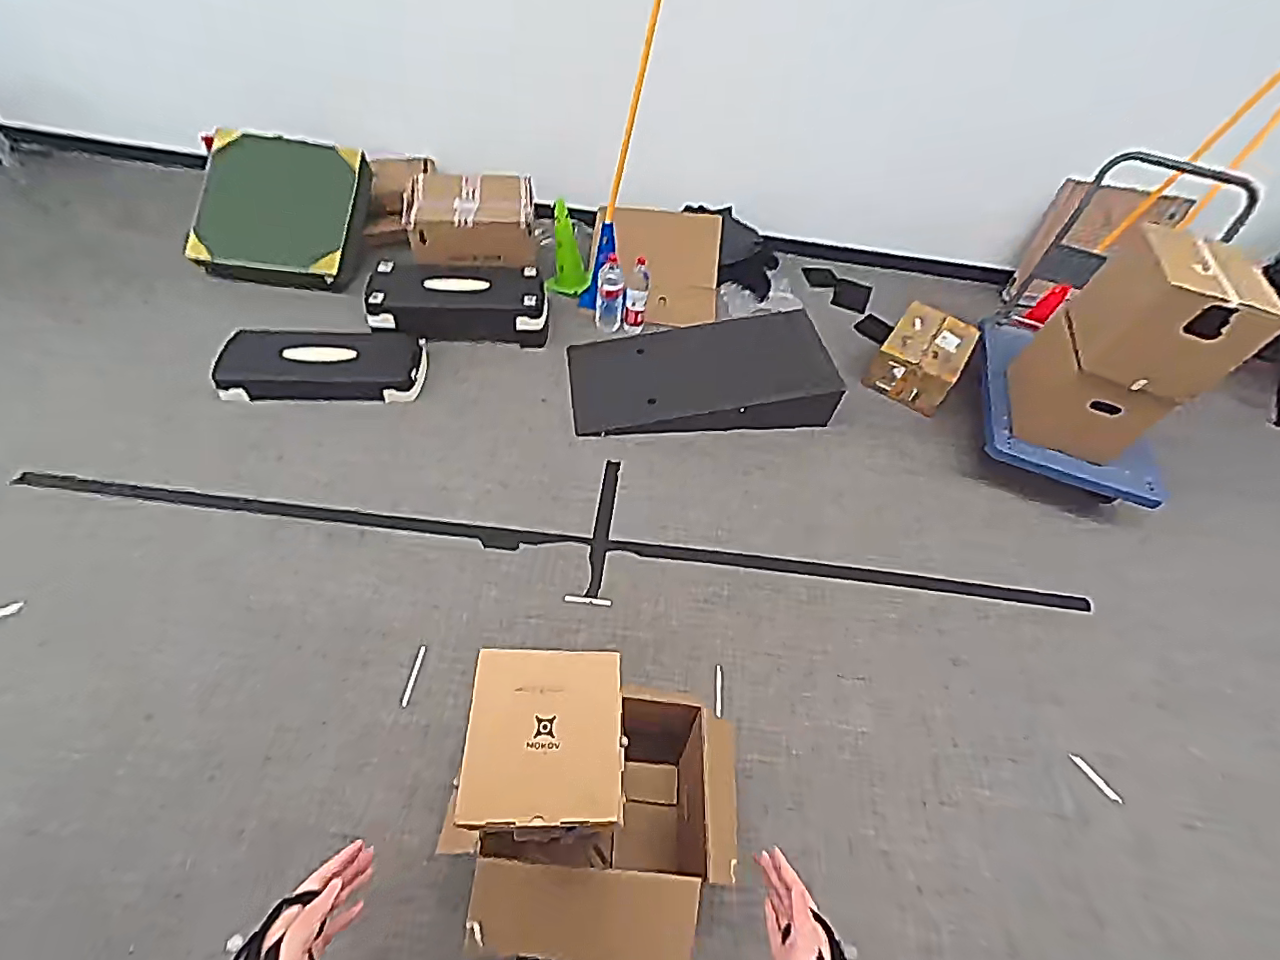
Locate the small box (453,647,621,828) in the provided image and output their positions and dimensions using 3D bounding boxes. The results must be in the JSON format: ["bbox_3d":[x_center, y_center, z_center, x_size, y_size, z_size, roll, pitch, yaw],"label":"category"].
[{"bbox_3d":[-0.116,0.316,0.652,0.168,0.176,0.179,5,55,-8],"label":"small box"}]
